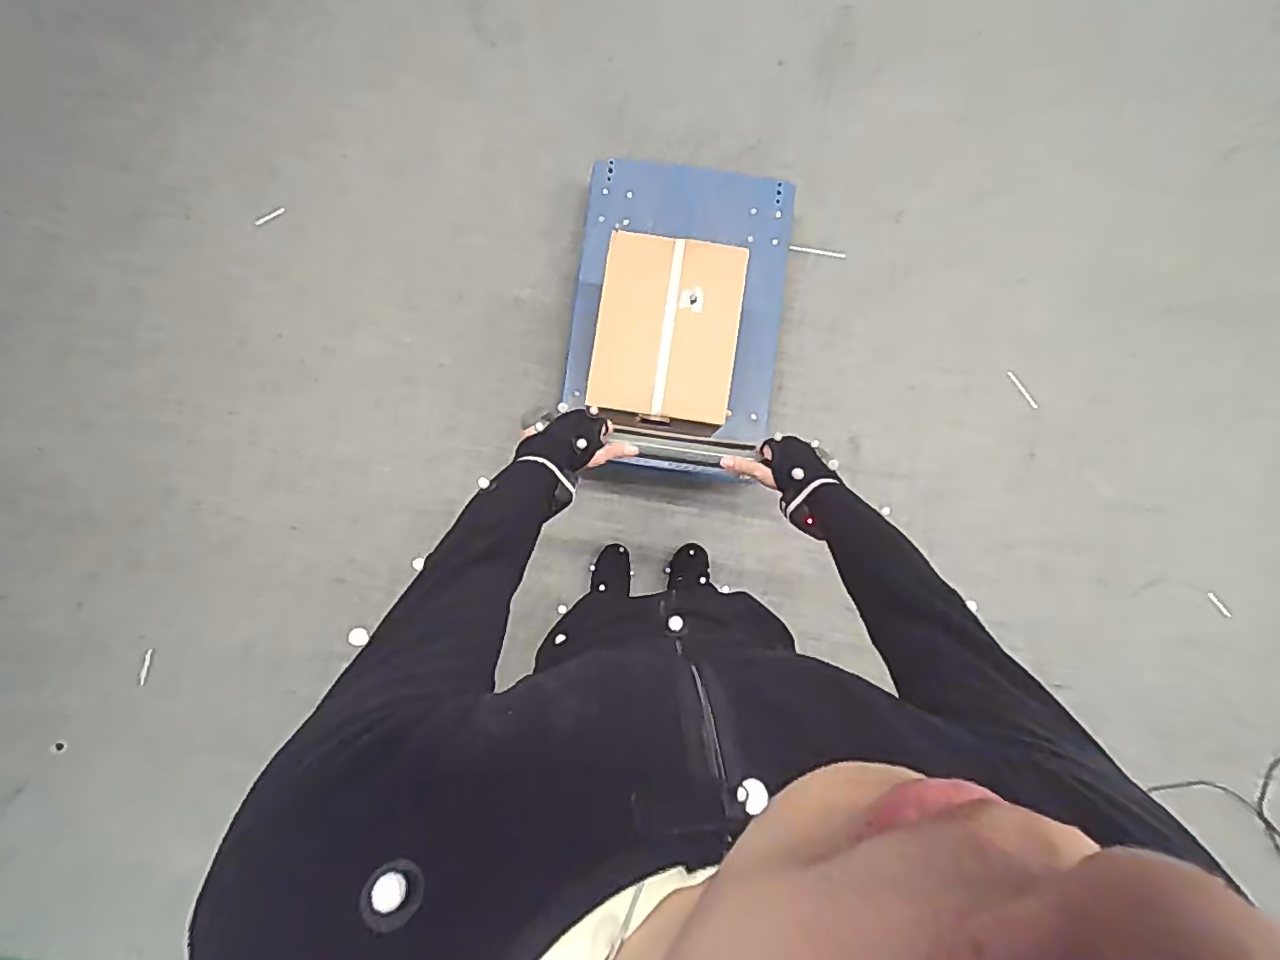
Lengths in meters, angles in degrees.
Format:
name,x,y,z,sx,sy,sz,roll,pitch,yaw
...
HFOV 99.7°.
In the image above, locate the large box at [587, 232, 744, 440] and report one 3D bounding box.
name,x,y,z,sx,sy,sz,roll,pitch,yaw
large box,0.058,-0.329,1.341,0.320,0.320,0.408,8,85,-1
